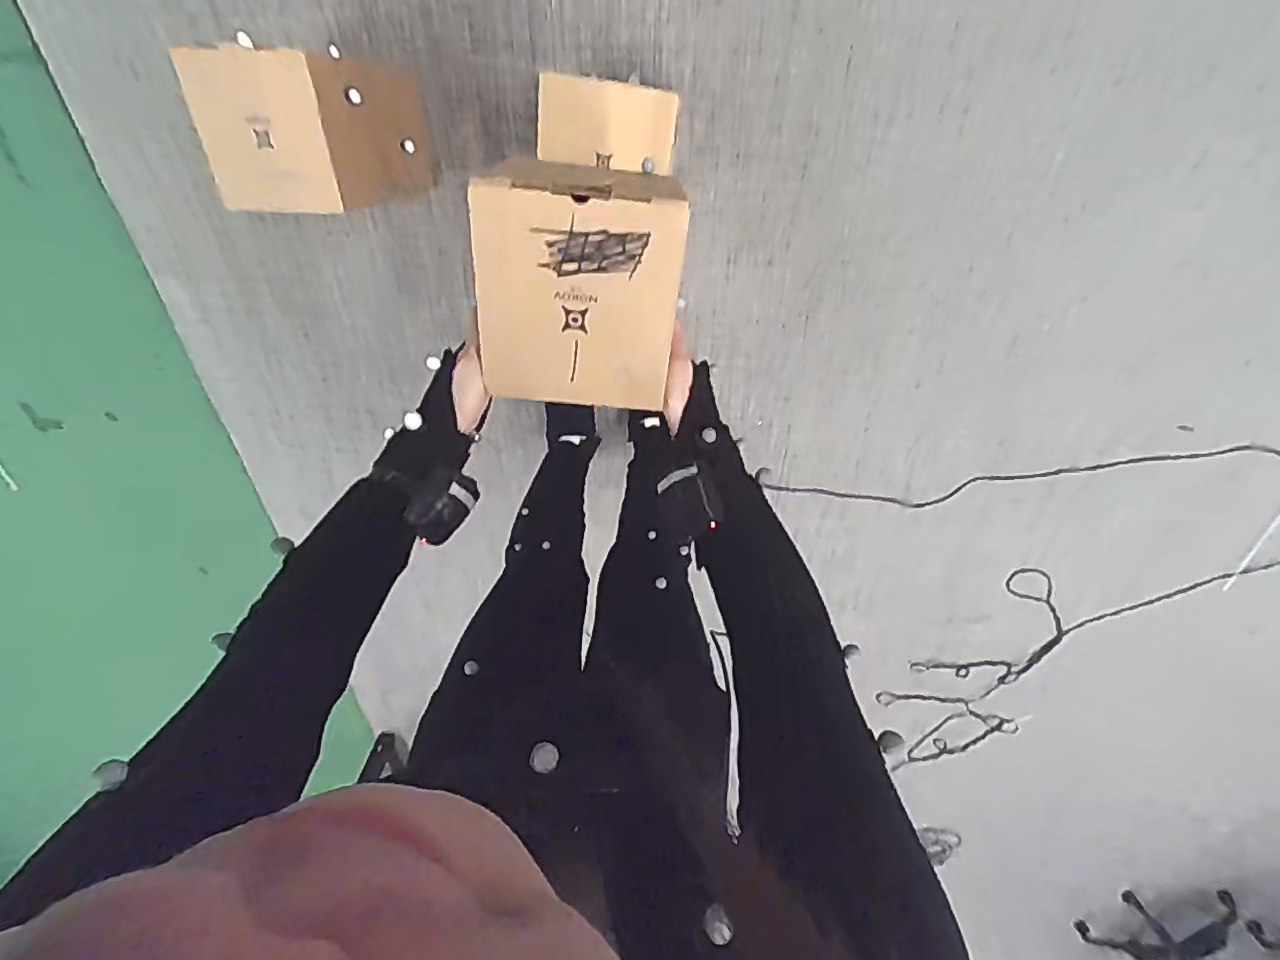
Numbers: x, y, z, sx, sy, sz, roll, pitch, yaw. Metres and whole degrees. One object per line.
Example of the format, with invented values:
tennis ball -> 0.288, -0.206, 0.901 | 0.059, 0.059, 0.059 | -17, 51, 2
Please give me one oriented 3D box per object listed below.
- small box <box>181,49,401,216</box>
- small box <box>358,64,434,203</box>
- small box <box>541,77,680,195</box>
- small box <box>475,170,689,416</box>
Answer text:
small box -> -0.459, -0.476, 0.748 | 0.168, 0.176, 0.179 | 3, 125, 3
small box -> -0.453, -0.569, 0.881 | 0.168, 0.176, 0.179 | 5, 125, 0
small box -> -0.042, -0.435, 0.750 | 0.168, 0.176, 0.179 | 8, 125, -2
small box -> -0.053, -0.183, 0.519 | 0.168, 0.176, 0.179 | 5, 127, -4
